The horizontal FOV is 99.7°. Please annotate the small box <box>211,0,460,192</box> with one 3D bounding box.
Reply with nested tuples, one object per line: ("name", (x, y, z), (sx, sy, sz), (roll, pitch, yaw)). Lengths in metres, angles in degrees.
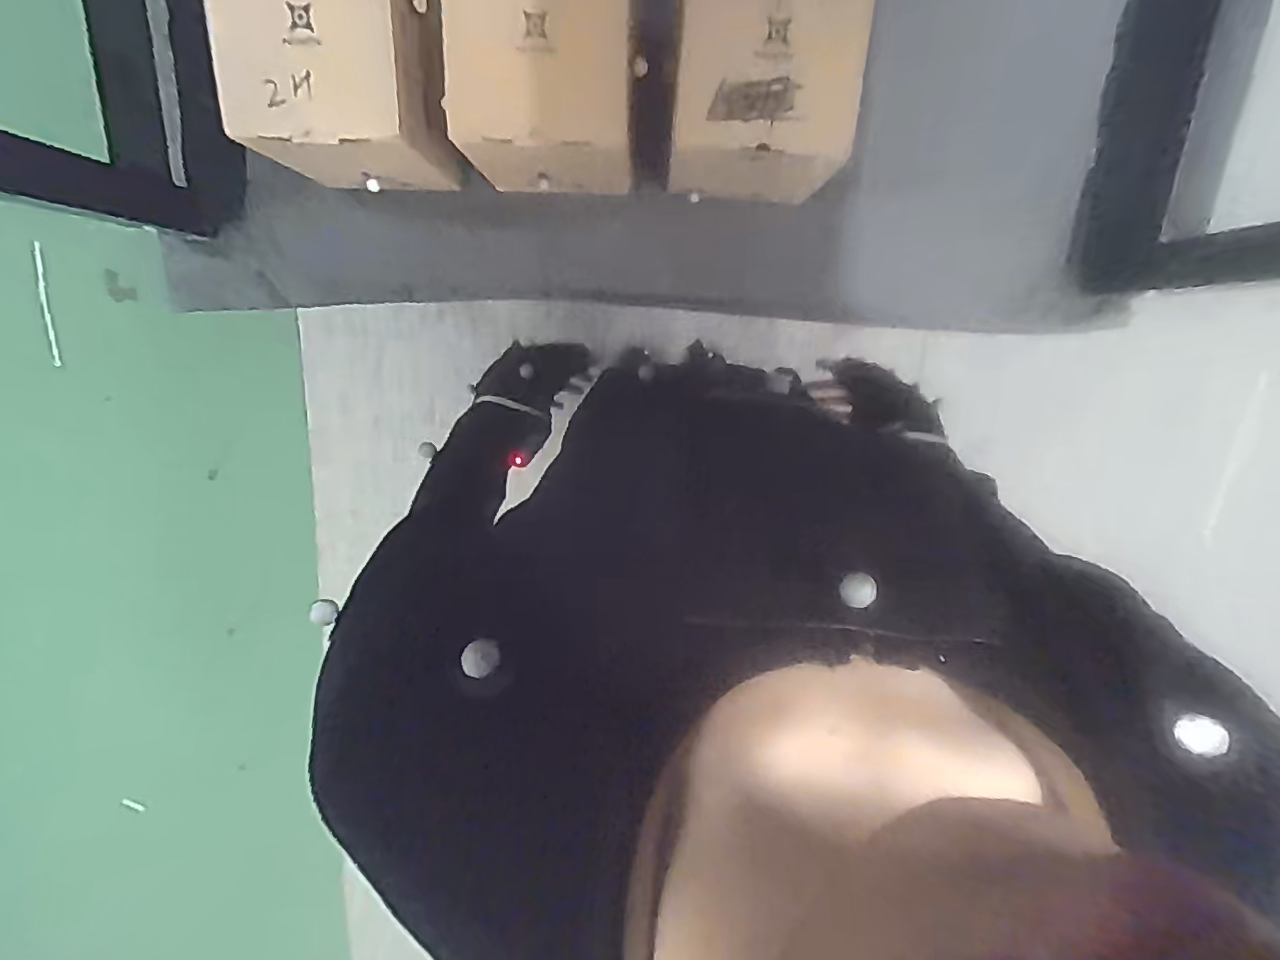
("small box", (-0.295, -0.419, 0.557), (0.168, 0.176, 0.179), (2, 104, 0))
